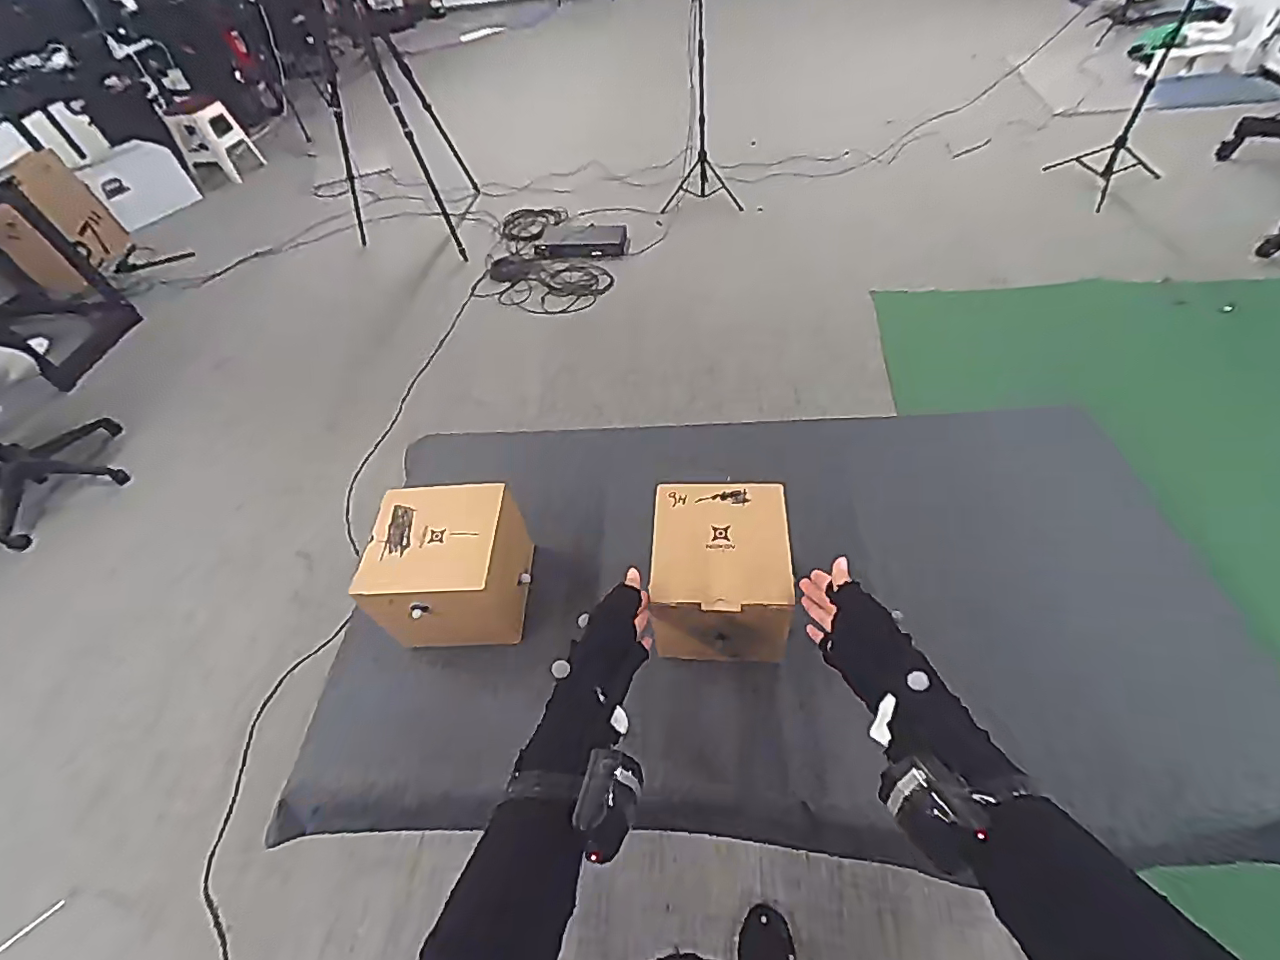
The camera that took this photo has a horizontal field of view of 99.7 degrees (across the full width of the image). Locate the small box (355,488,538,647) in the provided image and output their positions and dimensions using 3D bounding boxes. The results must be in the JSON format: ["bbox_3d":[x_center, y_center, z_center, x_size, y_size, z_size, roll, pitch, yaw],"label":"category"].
[{"bbox_3d":[-0.259,0.130,0.772,0.179,0.176,0.168,-3,51,4],"label":"small box"}]

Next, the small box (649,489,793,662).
[{"bbox_3d":[0.108,0.130,0.723,0.168,0.176,0.179,0,52,8],"label":"small box"}]
